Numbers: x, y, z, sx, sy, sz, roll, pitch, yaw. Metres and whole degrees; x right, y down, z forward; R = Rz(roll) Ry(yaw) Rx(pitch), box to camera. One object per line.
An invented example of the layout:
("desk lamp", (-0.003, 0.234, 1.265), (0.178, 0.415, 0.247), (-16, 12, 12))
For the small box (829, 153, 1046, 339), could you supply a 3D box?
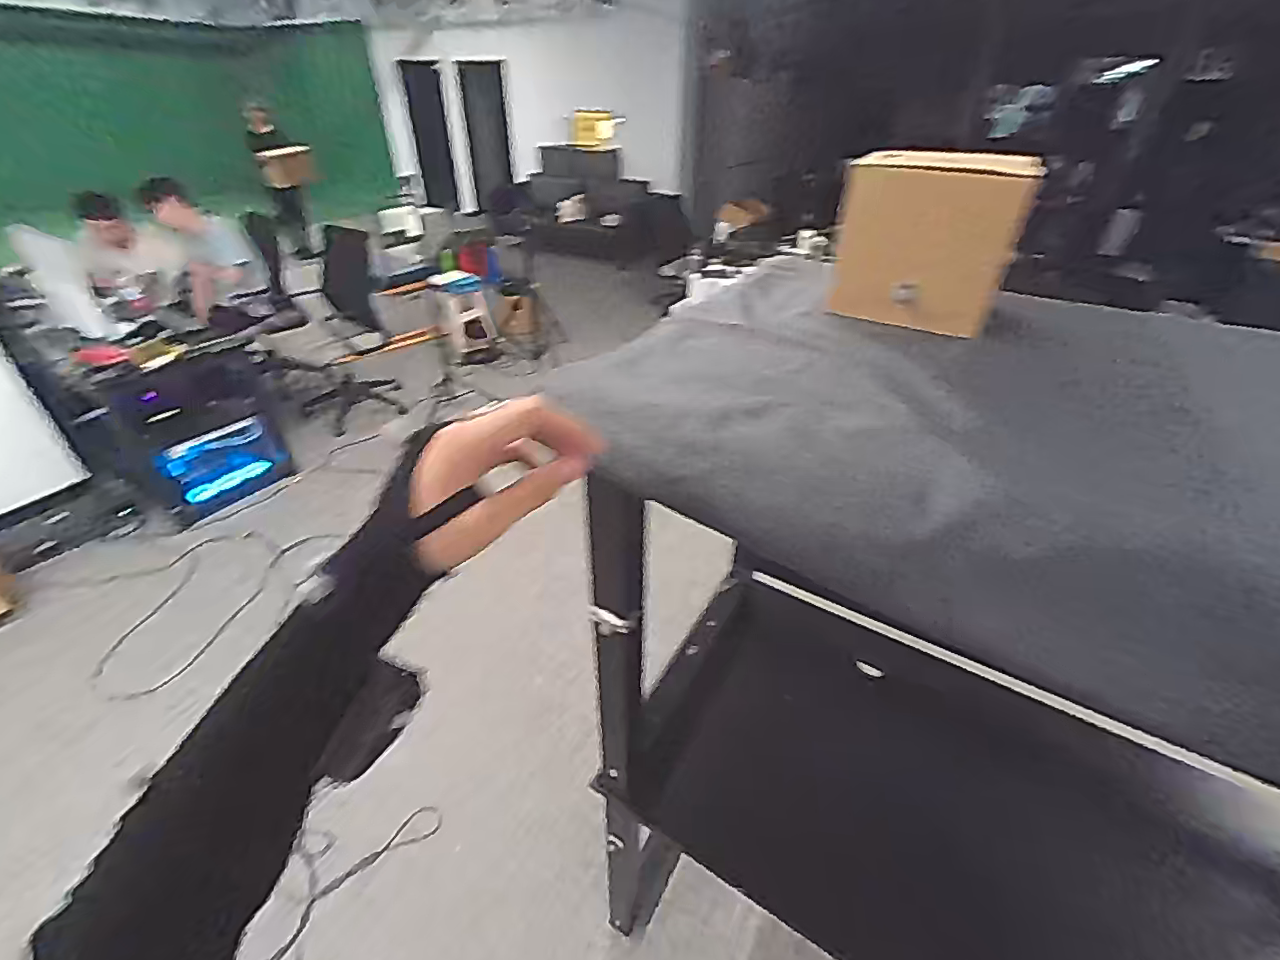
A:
("small box", (0.352, -0.285, 0.655), (0.179, 0.176, 0.168), (20, 40, 23))
